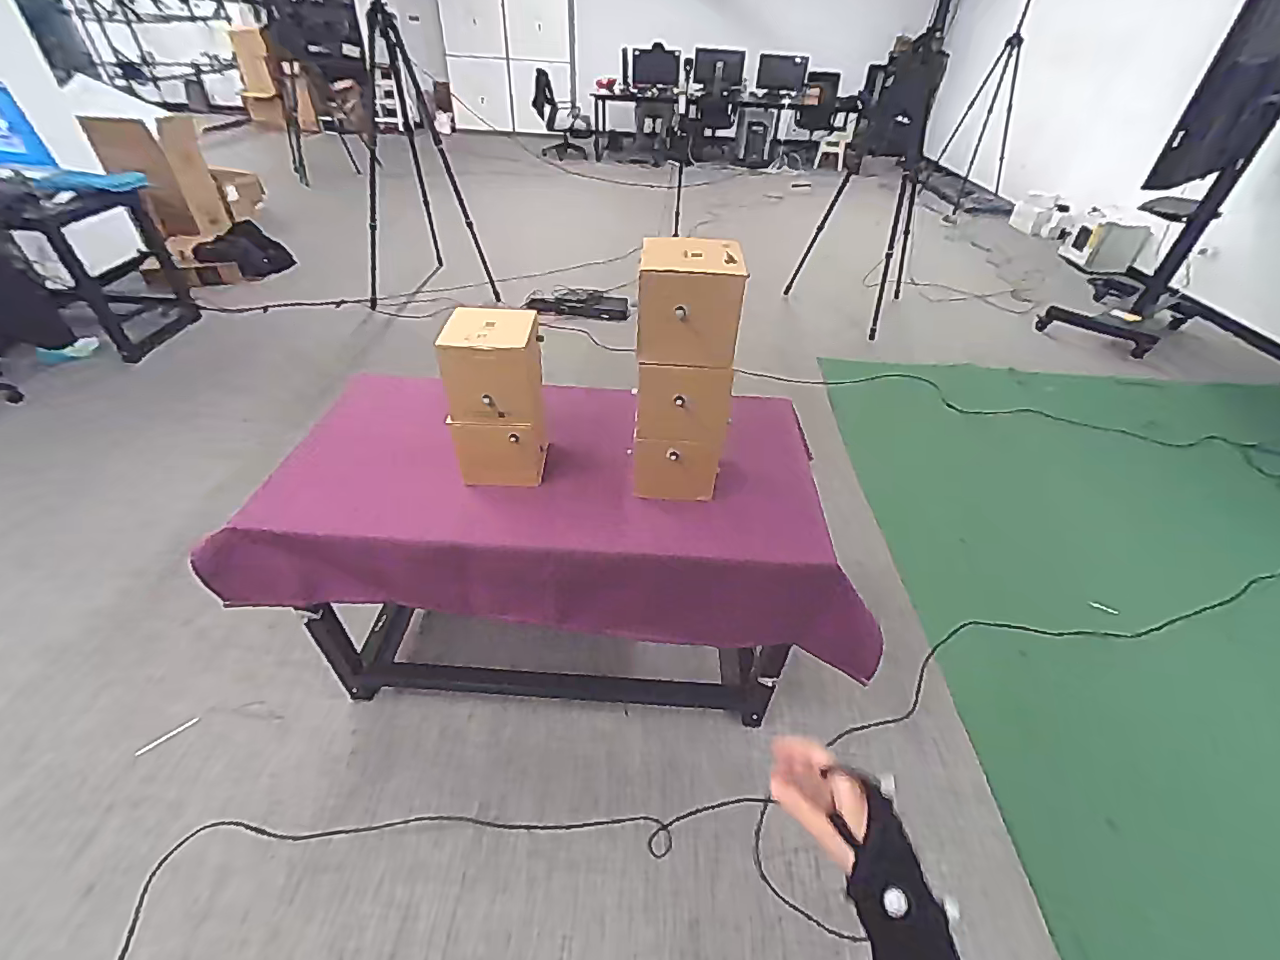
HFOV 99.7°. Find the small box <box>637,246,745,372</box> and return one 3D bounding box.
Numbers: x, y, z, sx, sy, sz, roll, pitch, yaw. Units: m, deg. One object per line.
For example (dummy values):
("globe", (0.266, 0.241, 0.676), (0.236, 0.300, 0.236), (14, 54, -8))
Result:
("small box", (0.086, -0.307, 0.972), (0.179, 0.176, 0.168), (3, 41, 2))

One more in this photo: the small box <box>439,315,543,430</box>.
("small box", (-0.293, -0.221, 1.105), (0.168, 0.176, 0.179), (1, 40, -2))

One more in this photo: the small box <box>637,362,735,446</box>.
("small box", (0.087, -0.182, 1.079), (0.179, 0.176, 0.168), (3, 41, 2))

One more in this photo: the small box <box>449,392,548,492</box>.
("small box", (-0.305, -0.088, 1.203), (0.179, 0.176, 0.168), (2, 40, -3))

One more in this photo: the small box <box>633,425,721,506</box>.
("small box", (0.078, -0.058, 1.186), (0.179, 0.176, 0.168), (4, 41, 1))
